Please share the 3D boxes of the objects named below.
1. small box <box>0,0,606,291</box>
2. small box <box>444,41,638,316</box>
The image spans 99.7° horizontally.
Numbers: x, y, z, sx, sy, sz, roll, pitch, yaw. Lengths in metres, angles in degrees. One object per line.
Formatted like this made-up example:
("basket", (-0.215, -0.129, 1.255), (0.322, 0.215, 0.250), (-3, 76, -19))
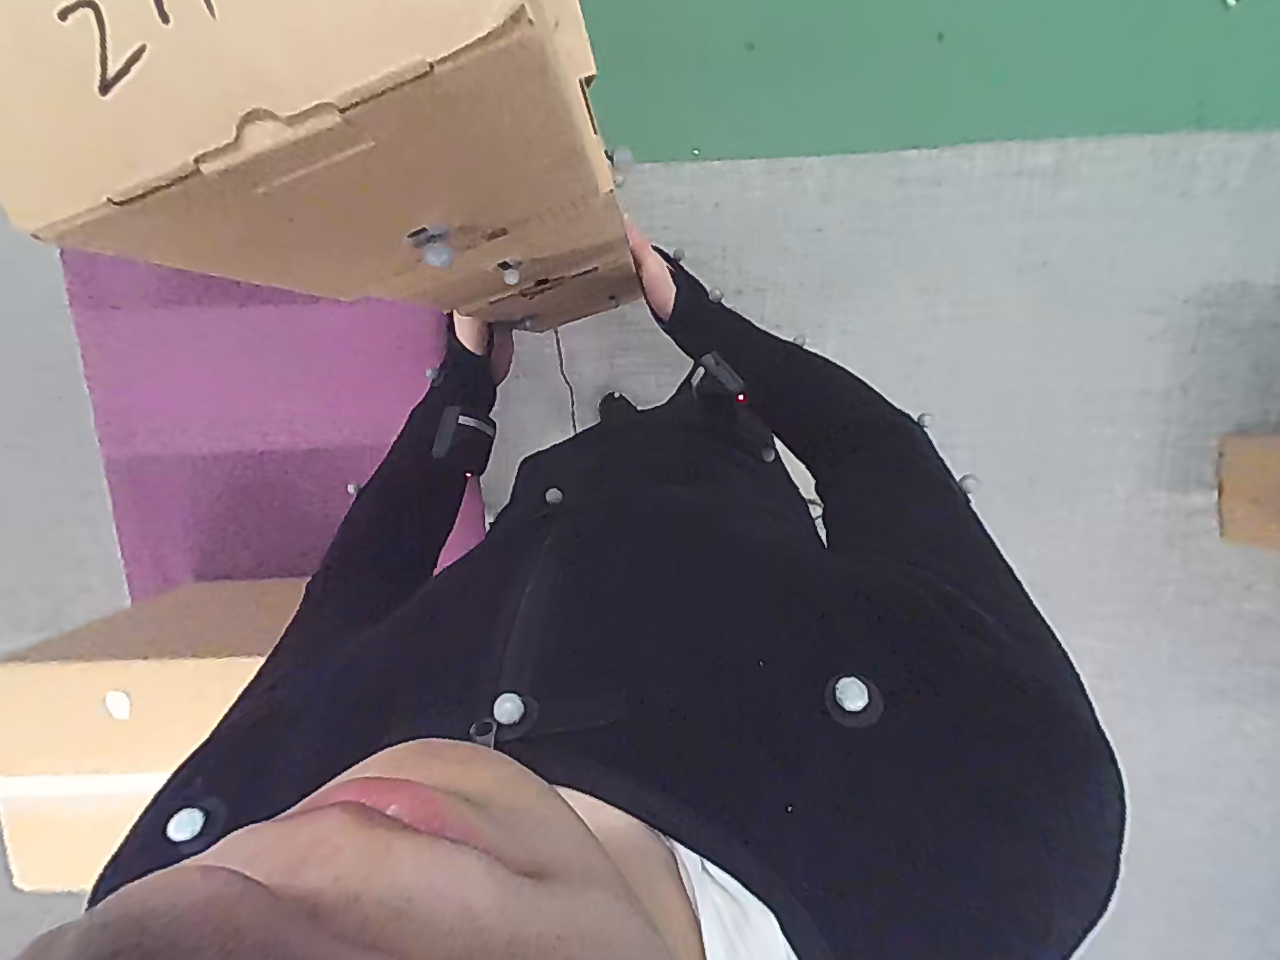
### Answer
("small box", (-0.120, -0.192, 0.212), (0.168, 0.176, 0.179), (-17, 102, 6))
("small box", (-0.102, -0.267, 0.532), (0.168, 0.176, 0.179), (-15, 102, 4))
